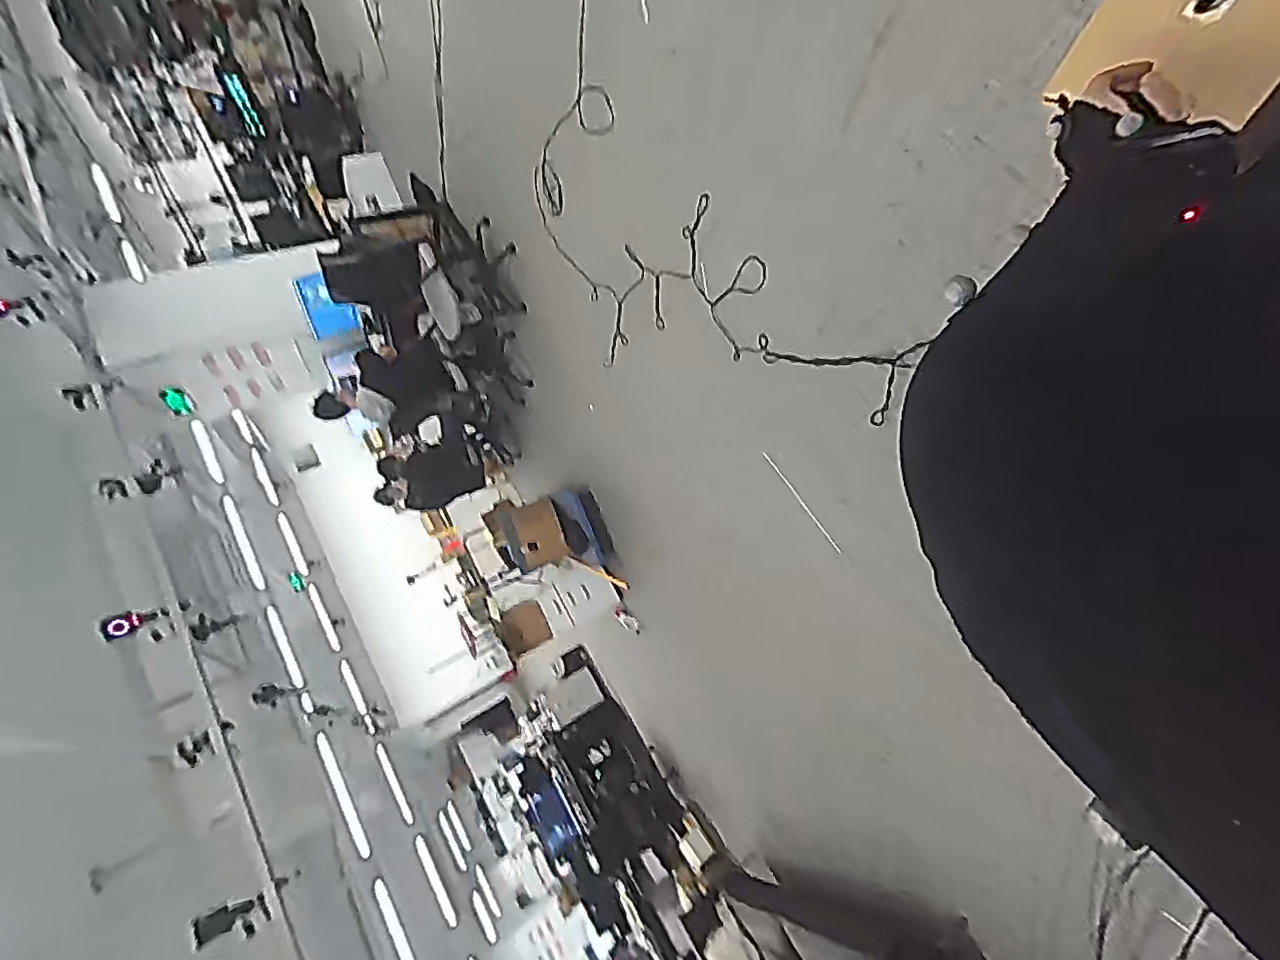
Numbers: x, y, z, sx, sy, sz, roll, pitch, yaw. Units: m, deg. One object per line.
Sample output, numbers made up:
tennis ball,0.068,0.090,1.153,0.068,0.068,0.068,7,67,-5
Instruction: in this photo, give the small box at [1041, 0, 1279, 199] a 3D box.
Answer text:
small box,0.538,-0.401,0.516,0.168,0.179,0.176,45,124,35
